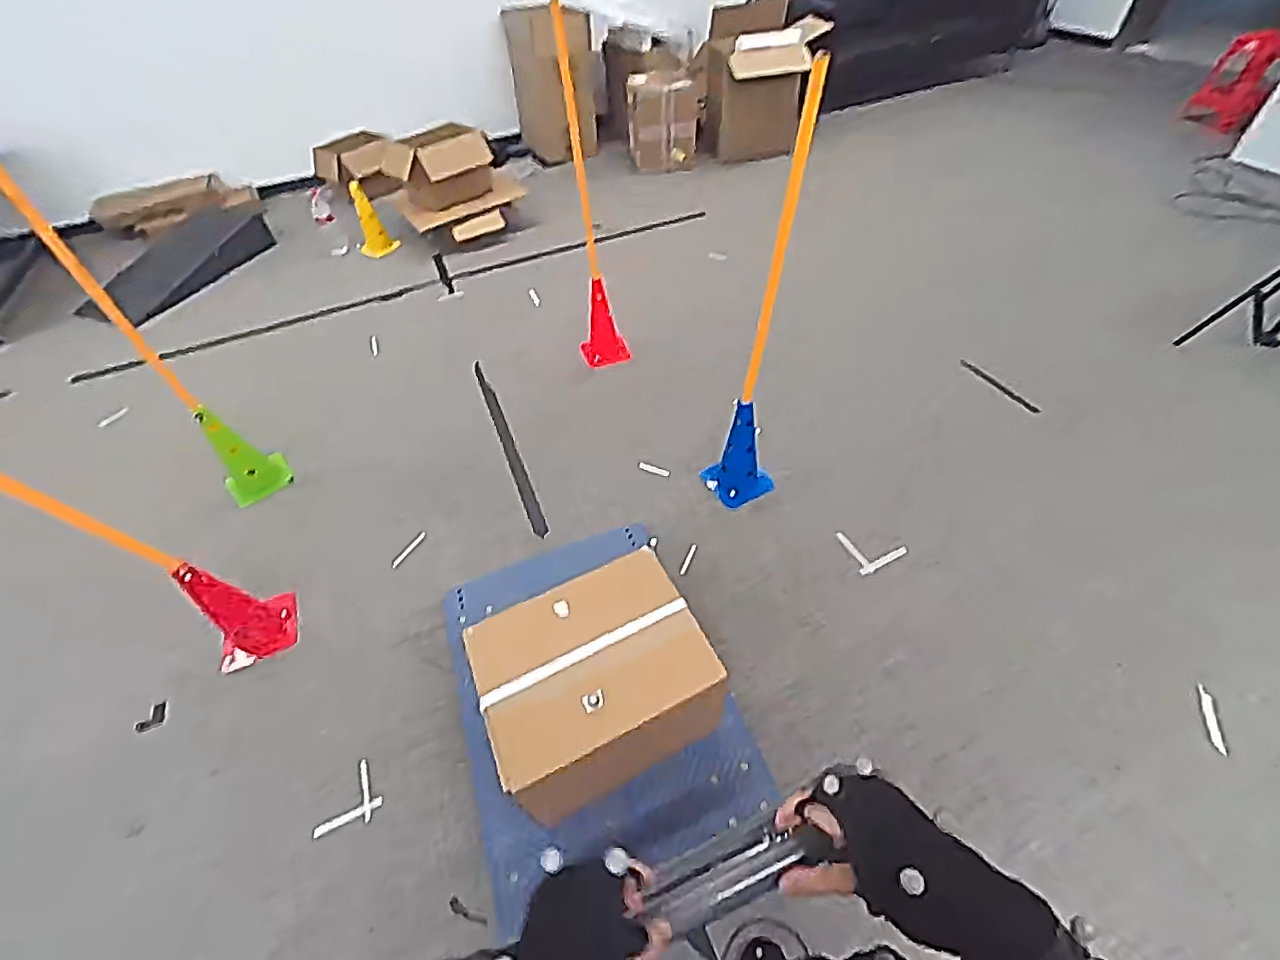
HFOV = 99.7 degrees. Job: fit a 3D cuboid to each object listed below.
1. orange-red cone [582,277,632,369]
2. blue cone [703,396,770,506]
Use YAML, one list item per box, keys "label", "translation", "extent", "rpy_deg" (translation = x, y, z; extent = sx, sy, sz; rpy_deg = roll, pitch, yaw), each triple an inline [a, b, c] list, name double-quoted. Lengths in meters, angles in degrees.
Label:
- label: "orange-red cone"
  translation: [-0.156, -0.679, 2.275]
  extent: [0.199, 0.360, 0.198]
  rpy_deg: [-15, 50, -10]
- label: "blue cone"
  translation: [0.325, -0.108, 1.753]
  extent: [0.193, 0.380, 0.192]
  rpy_deg: [-23, 50, -16]
